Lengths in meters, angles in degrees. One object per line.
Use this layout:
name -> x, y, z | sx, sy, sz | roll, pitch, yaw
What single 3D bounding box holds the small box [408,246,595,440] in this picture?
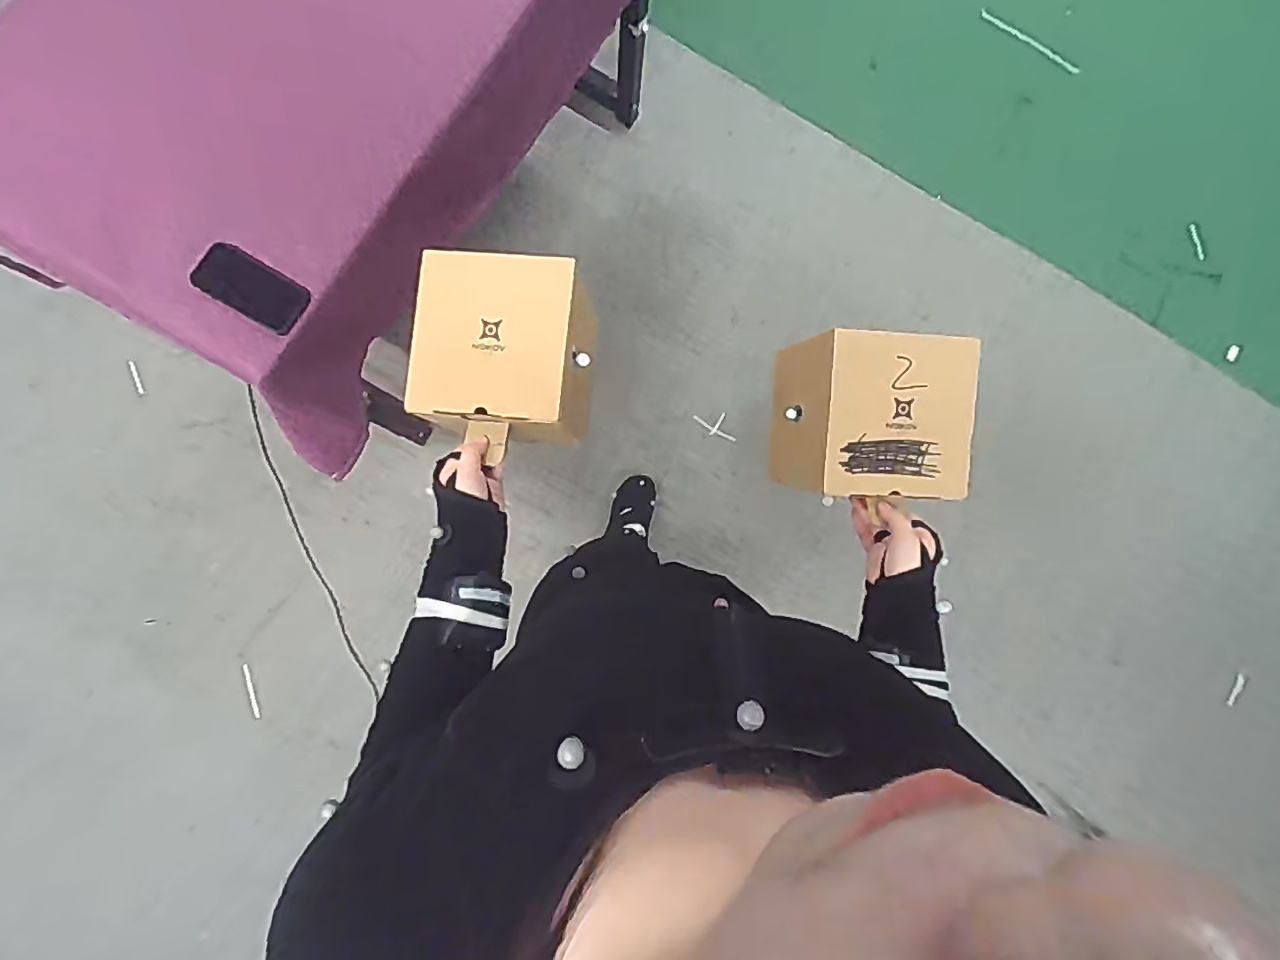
small box -> -0.150, -0.151, 0.647 | 0.168, 0.176, 0.179 | 5, 87, 4
